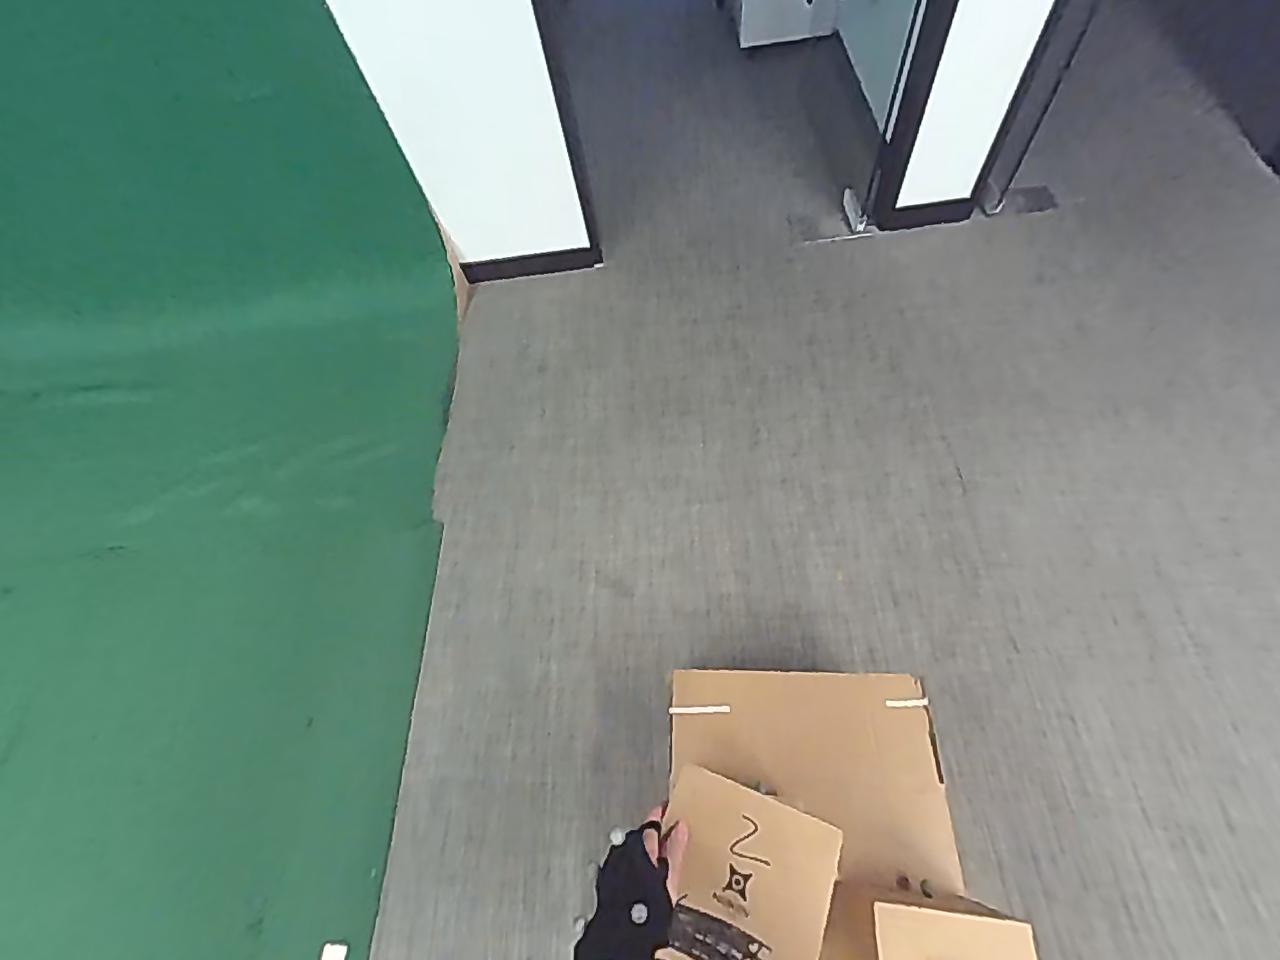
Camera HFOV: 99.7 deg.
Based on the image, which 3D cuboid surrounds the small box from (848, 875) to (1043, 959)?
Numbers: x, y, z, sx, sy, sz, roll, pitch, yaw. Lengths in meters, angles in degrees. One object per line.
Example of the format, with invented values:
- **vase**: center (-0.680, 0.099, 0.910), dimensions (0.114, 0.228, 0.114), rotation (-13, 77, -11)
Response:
- **small box**: center (0.348, 0.588, 0.628), dimensions (0.168, 0.176, 0.179), rotation (2, 60, 8)

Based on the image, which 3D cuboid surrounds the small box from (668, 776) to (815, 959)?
- **small box**: center (0.131, 0.501, 0.711), dimensions (0.168, 0.176, 0.179), rotation (1, 60, 10)
